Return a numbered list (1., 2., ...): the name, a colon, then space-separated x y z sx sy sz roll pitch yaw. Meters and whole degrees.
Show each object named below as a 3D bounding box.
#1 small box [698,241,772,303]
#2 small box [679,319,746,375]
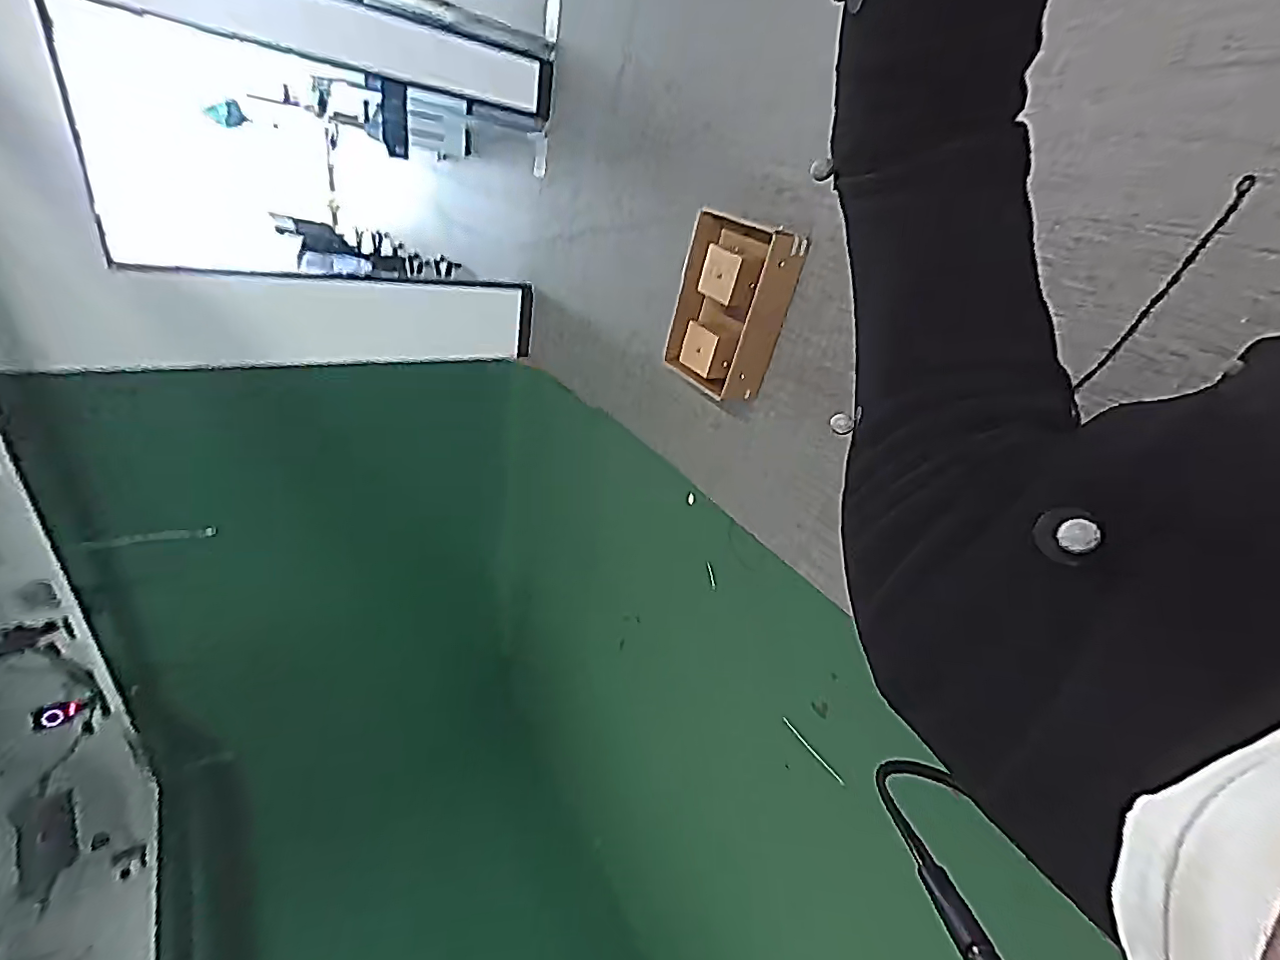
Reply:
1. small box: 0.349 -0.758 1.973 0.179 0.176 0.168 46 133 38
2. small box: 0.288 -0.525 2.119 0.179 0.176 0.168 45 132 40
